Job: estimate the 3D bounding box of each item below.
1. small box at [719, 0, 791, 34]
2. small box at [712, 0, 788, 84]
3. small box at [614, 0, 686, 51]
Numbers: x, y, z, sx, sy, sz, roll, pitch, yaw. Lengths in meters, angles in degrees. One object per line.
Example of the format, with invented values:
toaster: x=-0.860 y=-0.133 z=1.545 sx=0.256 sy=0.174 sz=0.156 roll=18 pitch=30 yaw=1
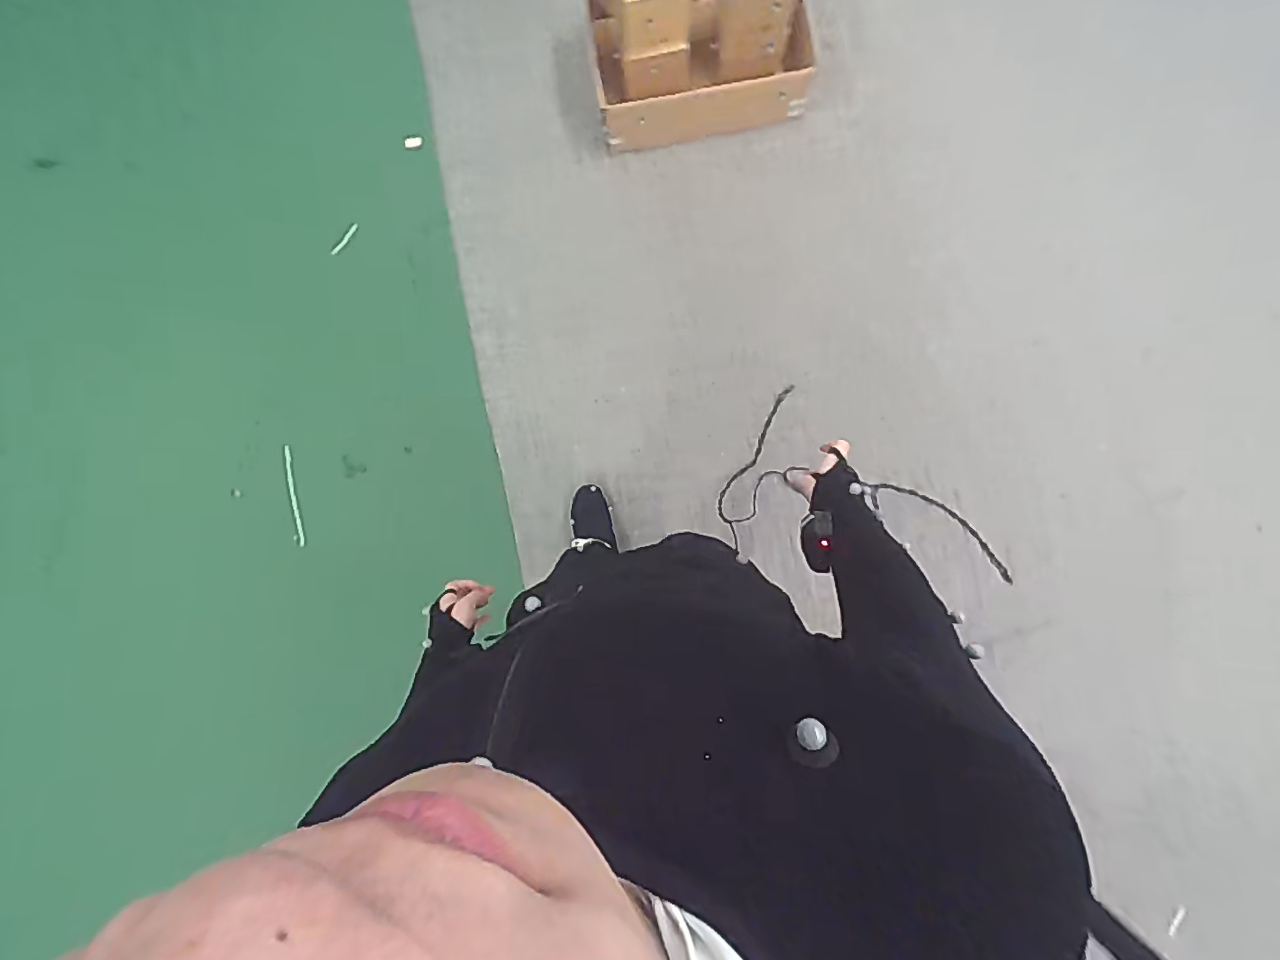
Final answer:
small box: x=0.294 y=-1.279 z=1.371 sx=0.168 sy=0.176 sz=0.179 roll=-7 pitch=88 yaw=1
small box: x=0.306 y=-1.272 z=1.534 sx=0.179 sy=0.176 sz=0.168 roll=-6 pitch=88 yaw=3
small box: x=0.023 y=-1.248 z=1.383 sx=0.168 sy=0.176 sz=0.179 roll=-14 pitch=87 yaw=1
